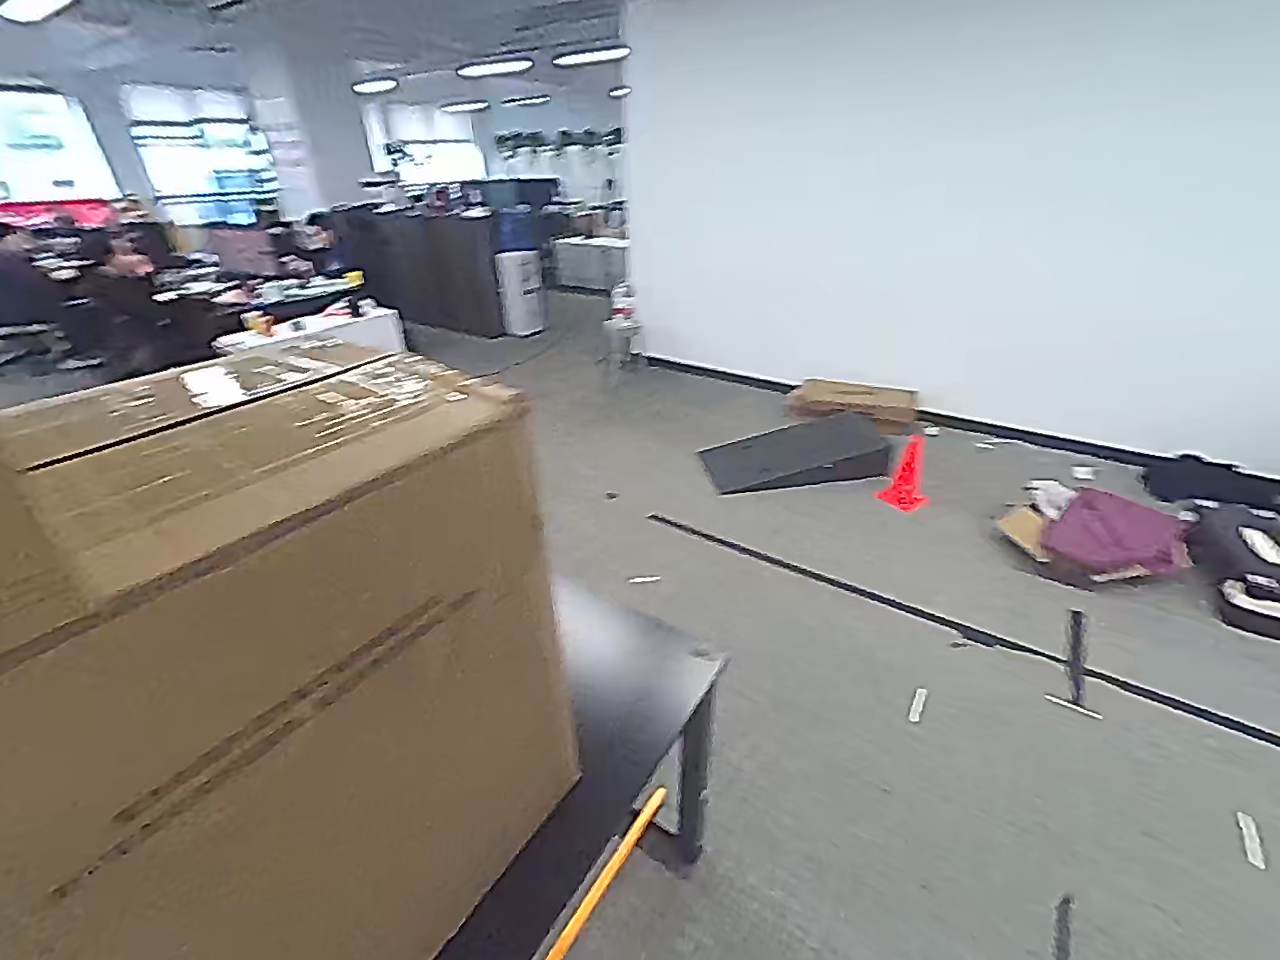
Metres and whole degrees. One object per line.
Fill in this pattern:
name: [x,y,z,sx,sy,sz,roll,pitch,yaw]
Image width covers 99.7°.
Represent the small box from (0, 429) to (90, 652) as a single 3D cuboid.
small box: [-0.390,0.002,0.216,0.179,0.176,0.168,18,34,25]
